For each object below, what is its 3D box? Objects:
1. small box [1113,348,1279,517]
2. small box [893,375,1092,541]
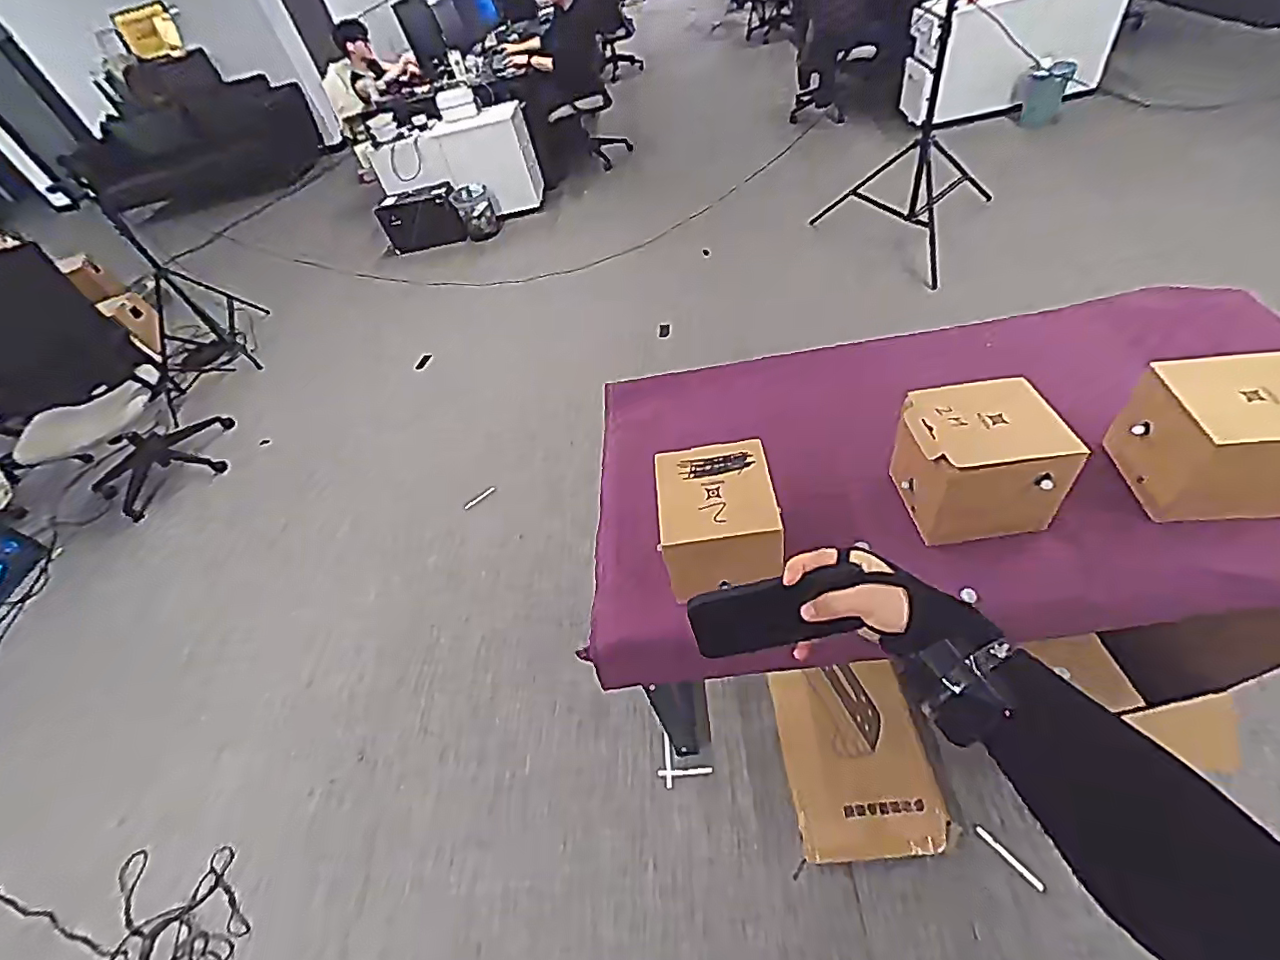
[{"bbox_3d":[0.818,-0.061,0.759,0.179,0.176,0.168,-4,49,11],"label":"small box"},{"bbox_3d":[0.506,-0.029,0.810,0.179,0.176,0.168,-9,46,6],"label":"small box"}]
